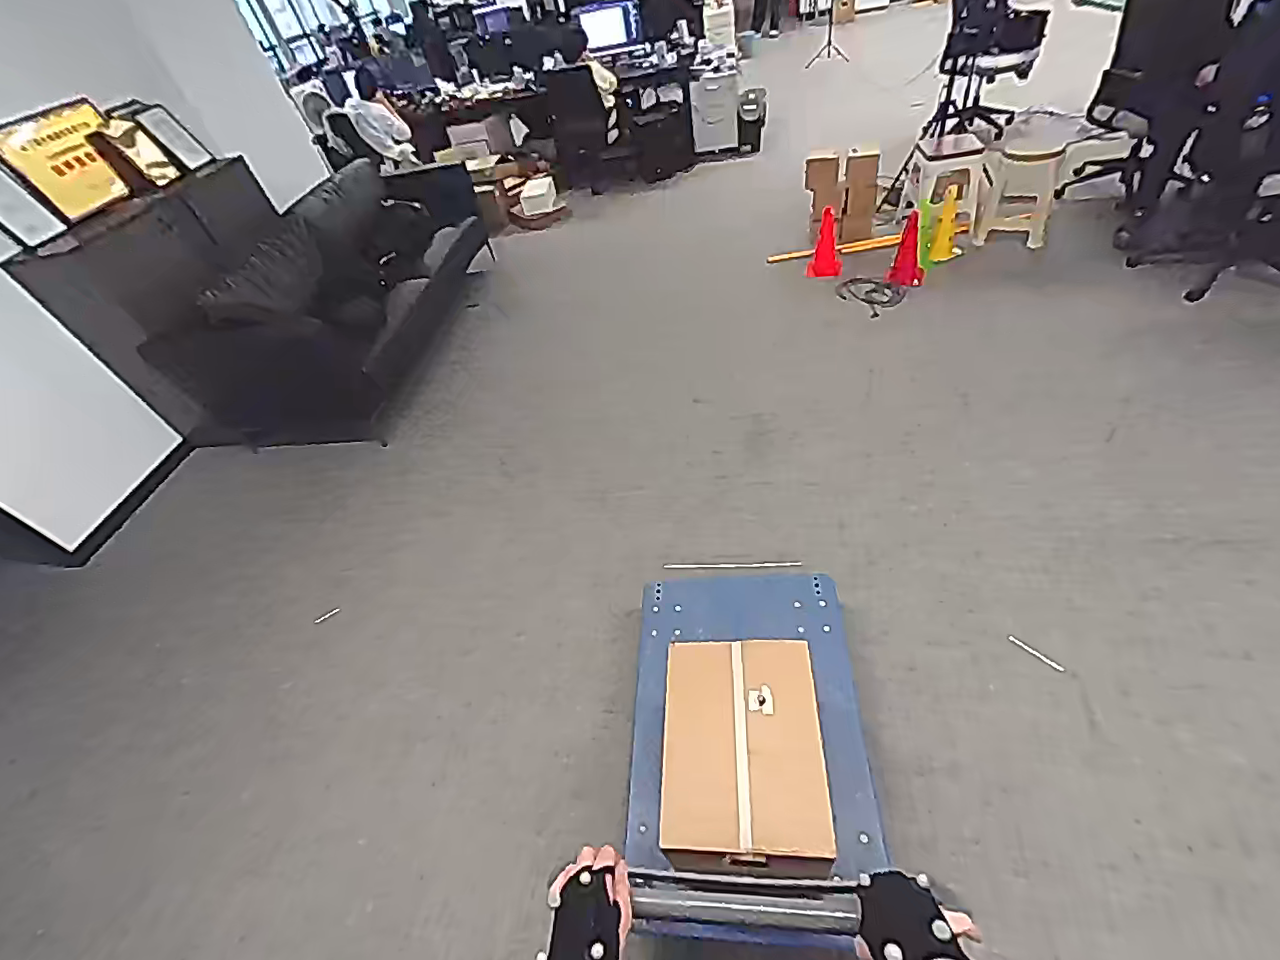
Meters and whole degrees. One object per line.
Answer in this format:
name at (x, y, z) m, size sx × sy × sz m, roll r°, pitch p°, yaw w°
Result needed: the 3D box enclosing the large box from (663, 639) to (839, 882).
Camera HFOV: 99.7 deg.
large box at (0.233, 0.612, 1.189) m, size 0.320 × 0.320 × 0.408 m, roll -5°, pitch 45°, yaw 11°
